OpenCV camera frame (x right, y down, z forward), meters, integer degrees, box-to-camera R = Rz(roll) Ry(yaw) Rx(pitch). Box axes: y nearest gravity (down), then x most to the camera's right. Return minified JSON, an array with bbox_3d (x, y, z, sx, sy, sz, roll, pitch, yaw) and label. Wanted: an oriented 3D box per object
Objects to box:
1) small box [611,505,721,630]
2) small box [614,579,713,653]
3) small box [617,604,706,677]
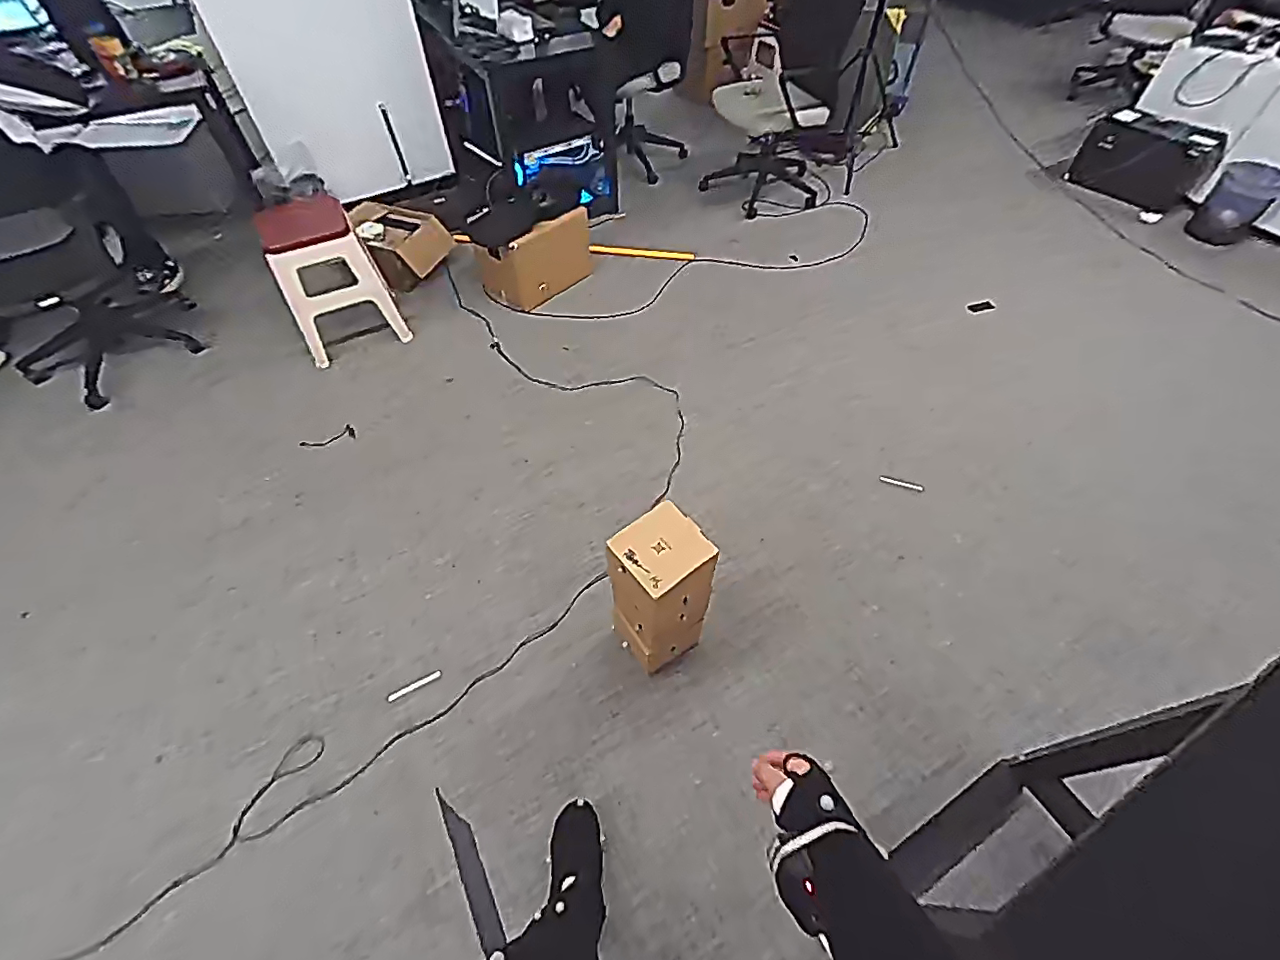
[{"bbox_3d":[0.051,0.193,1.181,0.179,0.176,0.168,-33,60,-22],"label":"small box"},{"bbox_3d":[0.055,0.289,1.314,0.179,0.176,0.168,-30,59,-22],"label":"small box"},{"bbox_3d":[0.052,0.391,1.441,0.179,0.176,0.168,-29,58,-18],"label":"small box"}]
